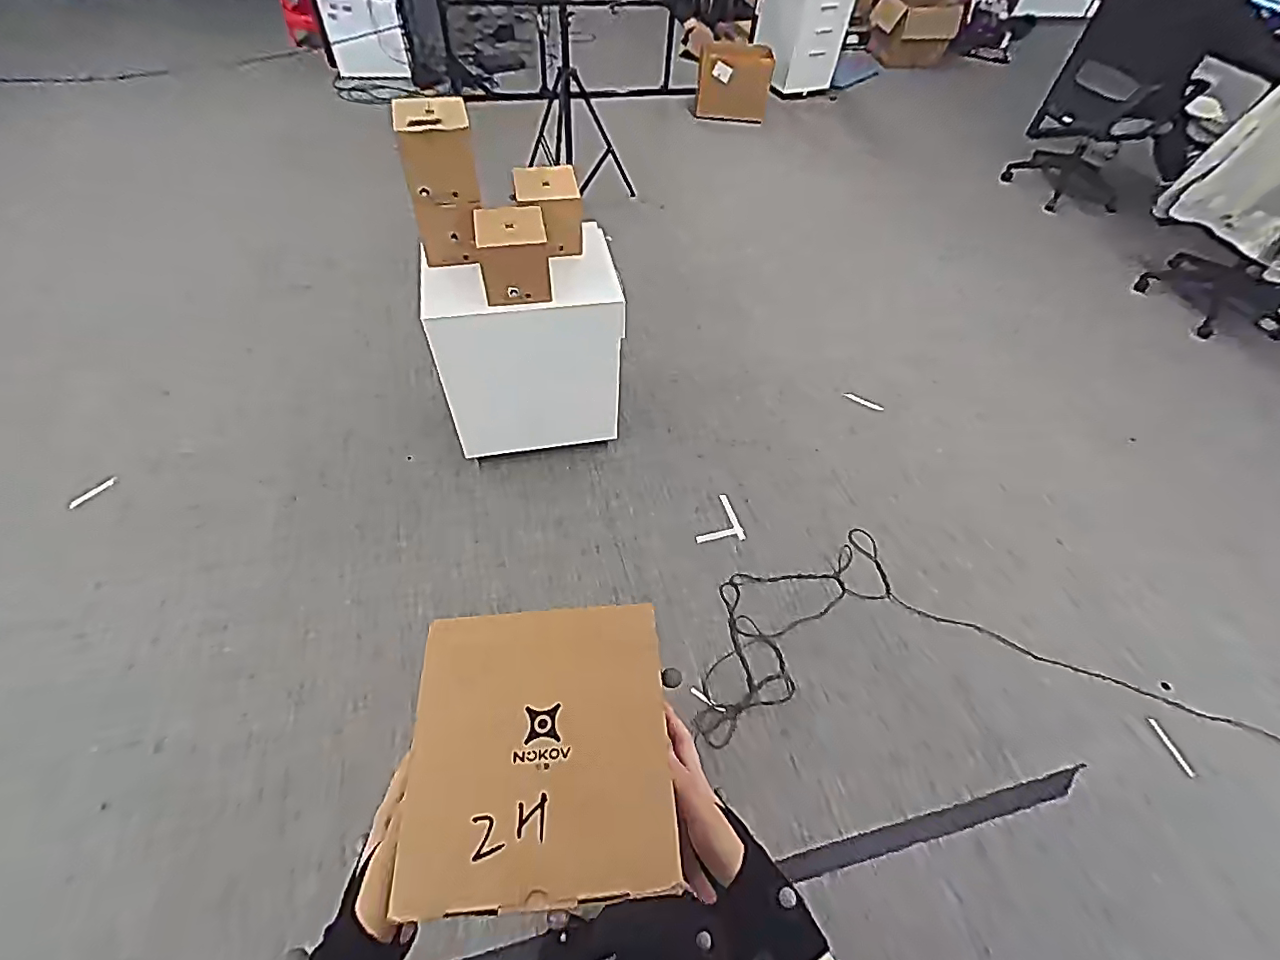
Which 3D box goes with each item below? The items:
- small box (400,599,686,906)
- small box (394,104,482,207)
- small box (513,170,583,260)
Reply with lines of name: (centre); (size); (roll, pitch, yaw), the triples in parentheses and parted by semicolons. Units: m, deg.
small box: (-0.061, 0.211, 0.420); (0.168, 0.176, 0.179); (-4, 55, -3)
small box: (-0.491, -0.788, 1.322); (0.168, 0.176, 0.179); (-11, 56, -12)
small box: (-0.254, -0.729, 1.502); (0.168, 0.176, 0.179); (-9, 55, -9)
